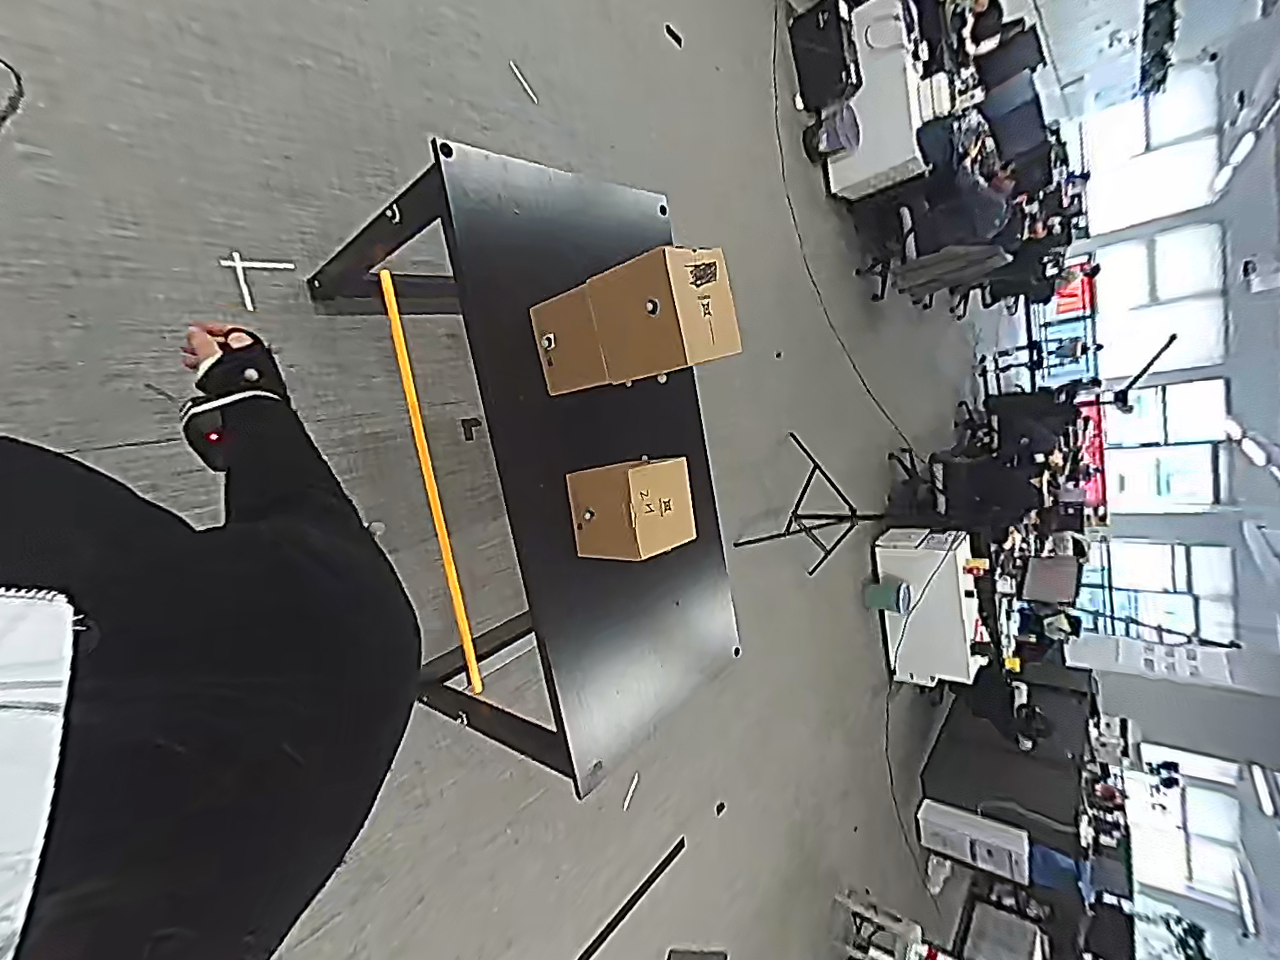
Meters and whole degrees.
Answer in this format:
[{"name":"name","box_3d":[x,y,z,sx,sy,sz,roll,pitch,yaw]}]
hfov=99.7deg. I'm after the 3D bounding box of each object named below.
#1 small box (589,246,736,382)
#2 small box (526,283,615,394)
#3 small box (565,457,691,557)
[{"name":"small box","box_3d":[0.036,-0.276,0.911,0.168,0.176,0.179,-25,106,-46]},{"name":"small box","box_3d":[-0.084,-0.268,1.024,0.179,0.176,0.168,-24,105,-45]},{"name":"small box","box_3d":[-0.023,0.048,1.070,0.179,0.176,0.168,-14,97,-48]}]
